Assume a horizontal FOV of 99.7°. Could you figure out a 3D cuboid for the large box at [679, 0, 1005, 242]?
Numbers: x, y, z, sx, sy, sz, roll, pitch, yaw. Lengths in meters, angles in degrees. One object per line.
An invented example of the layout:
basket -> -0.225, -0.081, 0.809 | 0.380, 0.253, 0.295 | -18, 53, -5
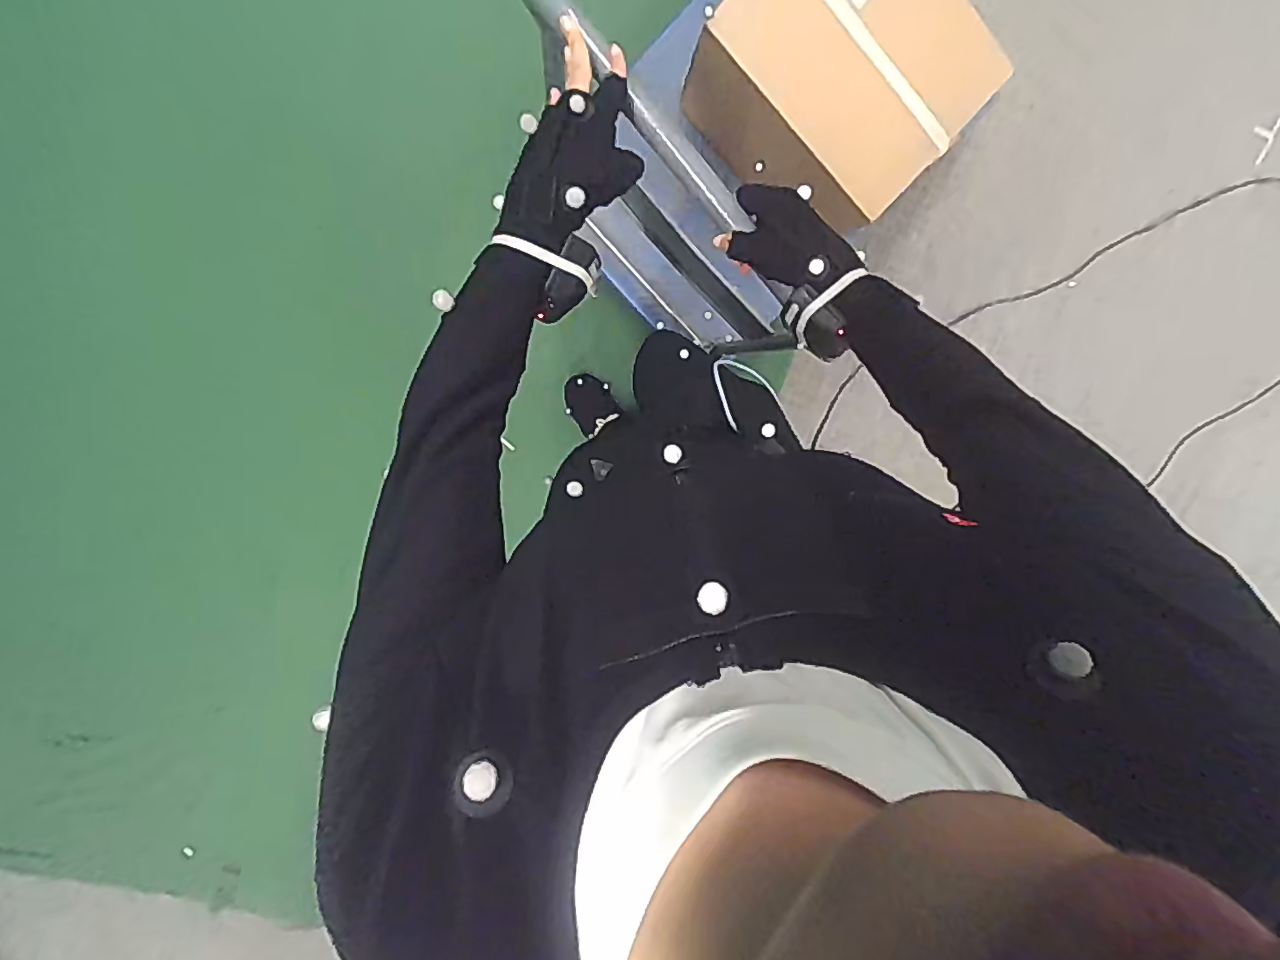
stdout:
large box -> 0.331, -0.718, 0.987 | 0.408, 0.320, 0.320 | 42, 98, -12
